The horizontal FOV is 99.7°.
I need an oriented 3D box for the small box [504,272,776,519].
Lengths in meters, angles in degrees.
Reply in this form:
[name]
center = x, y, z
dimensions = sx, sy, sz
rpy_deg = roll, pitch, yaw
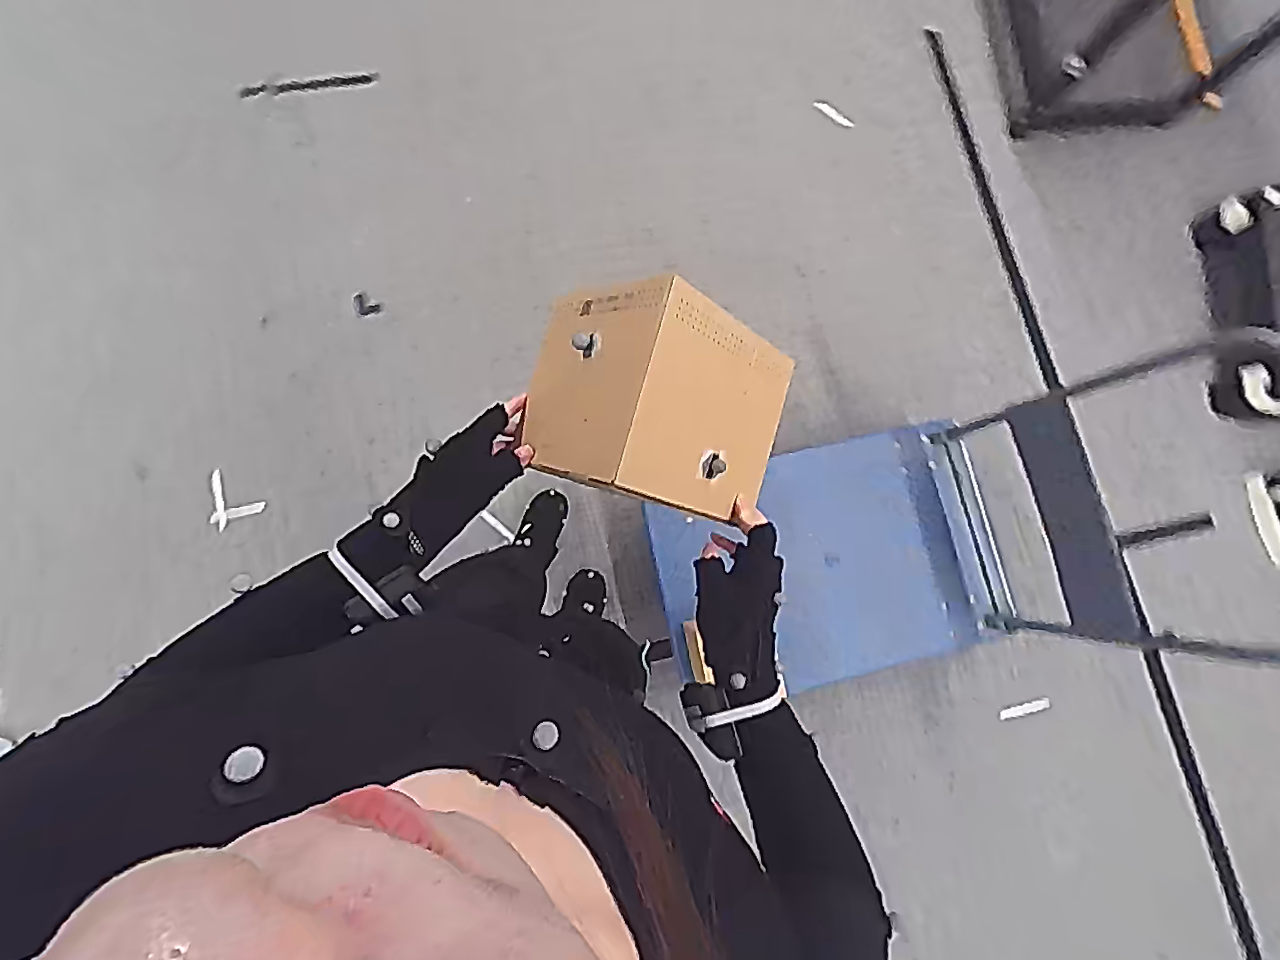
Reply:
[small box]
center = 0.004, -0.073, 0.512
dimensions = 0.179, 0.168, 0.176
rpy_deg = 17, 86, -42
